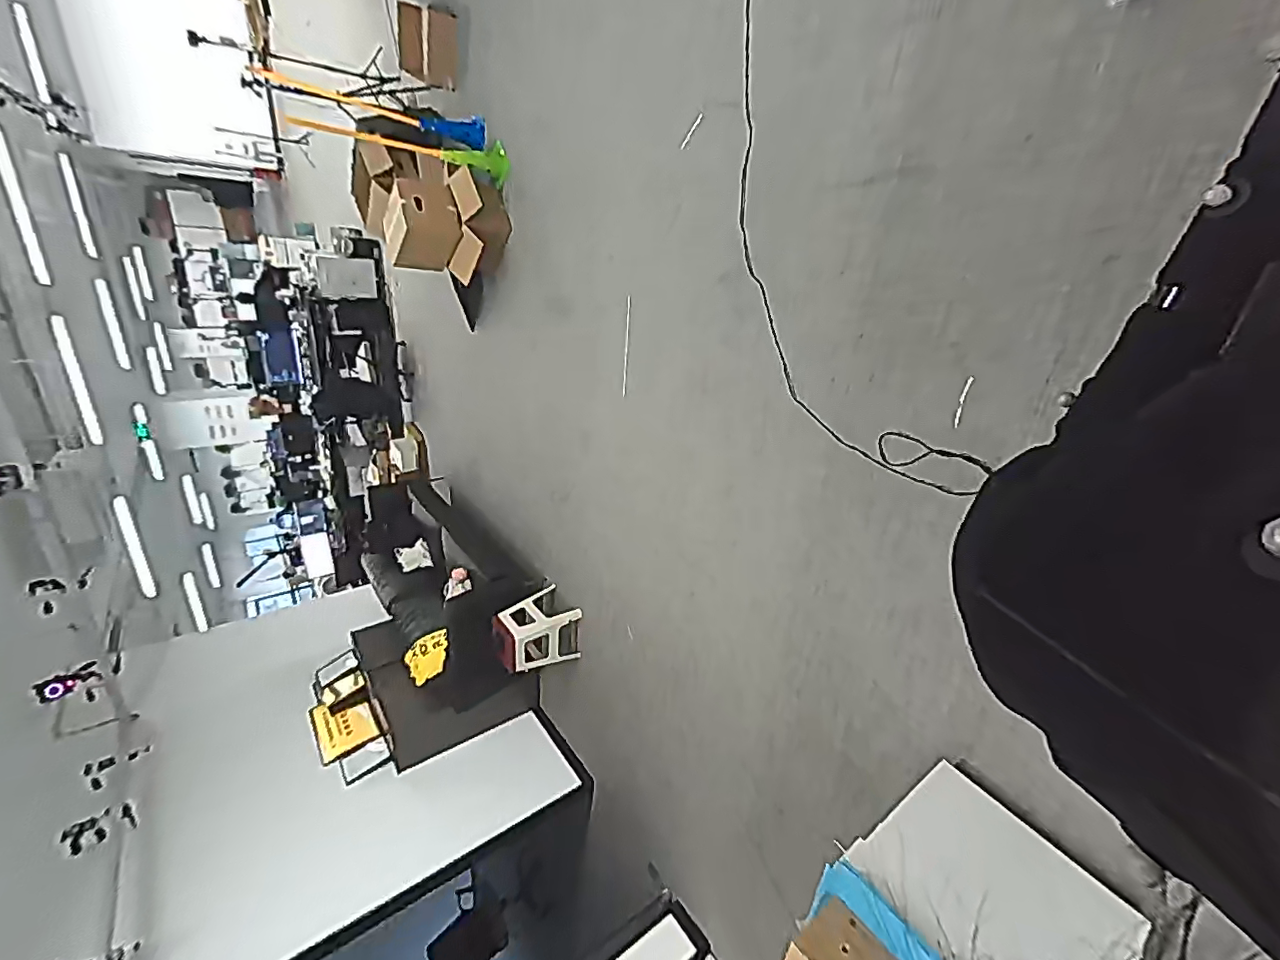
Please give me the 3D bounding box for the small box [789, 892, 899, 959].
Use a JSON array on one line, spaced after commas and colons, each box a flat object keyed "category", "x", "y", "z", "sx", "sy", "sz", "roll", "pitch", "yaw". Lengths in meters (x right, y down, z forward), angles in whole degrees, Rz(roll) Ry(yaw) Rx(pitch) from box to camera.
[{"category": "small box", "x": 0.465, "y": 1.110, "z": 1.243, "sx": 0.168, "sy": 0.176, "sz": 0.179, "roll": 33, "pitch": 127, "yaw": 44}]
